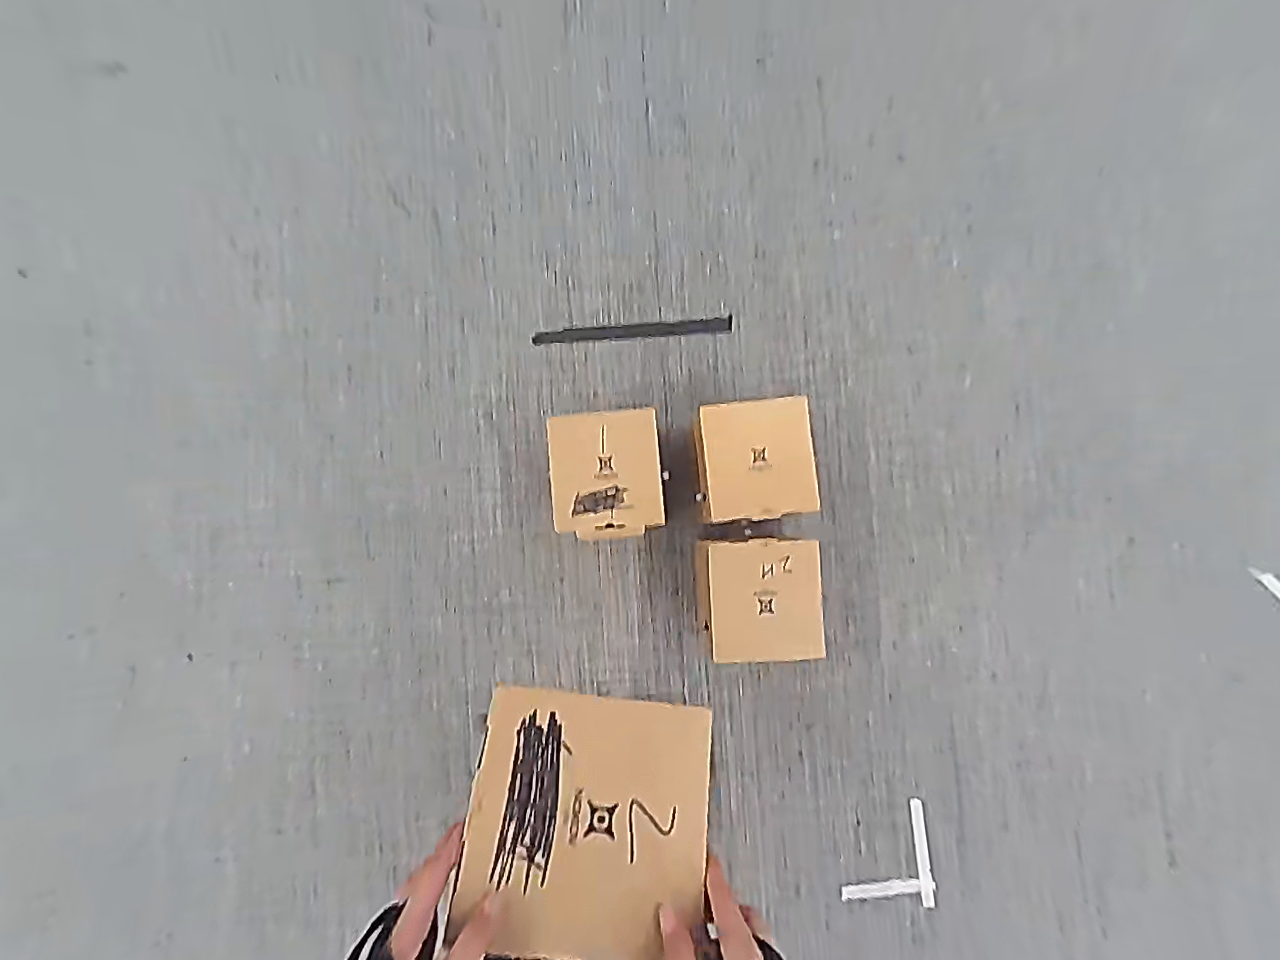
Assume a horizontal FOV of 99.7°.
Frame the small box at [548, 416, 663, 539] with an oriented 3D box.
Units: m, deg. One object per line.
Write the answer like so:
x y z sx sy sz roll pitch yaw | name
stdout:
-0.050 0.002 0.883 0.168 0.176 0.179 -5 84 -1 | small box
